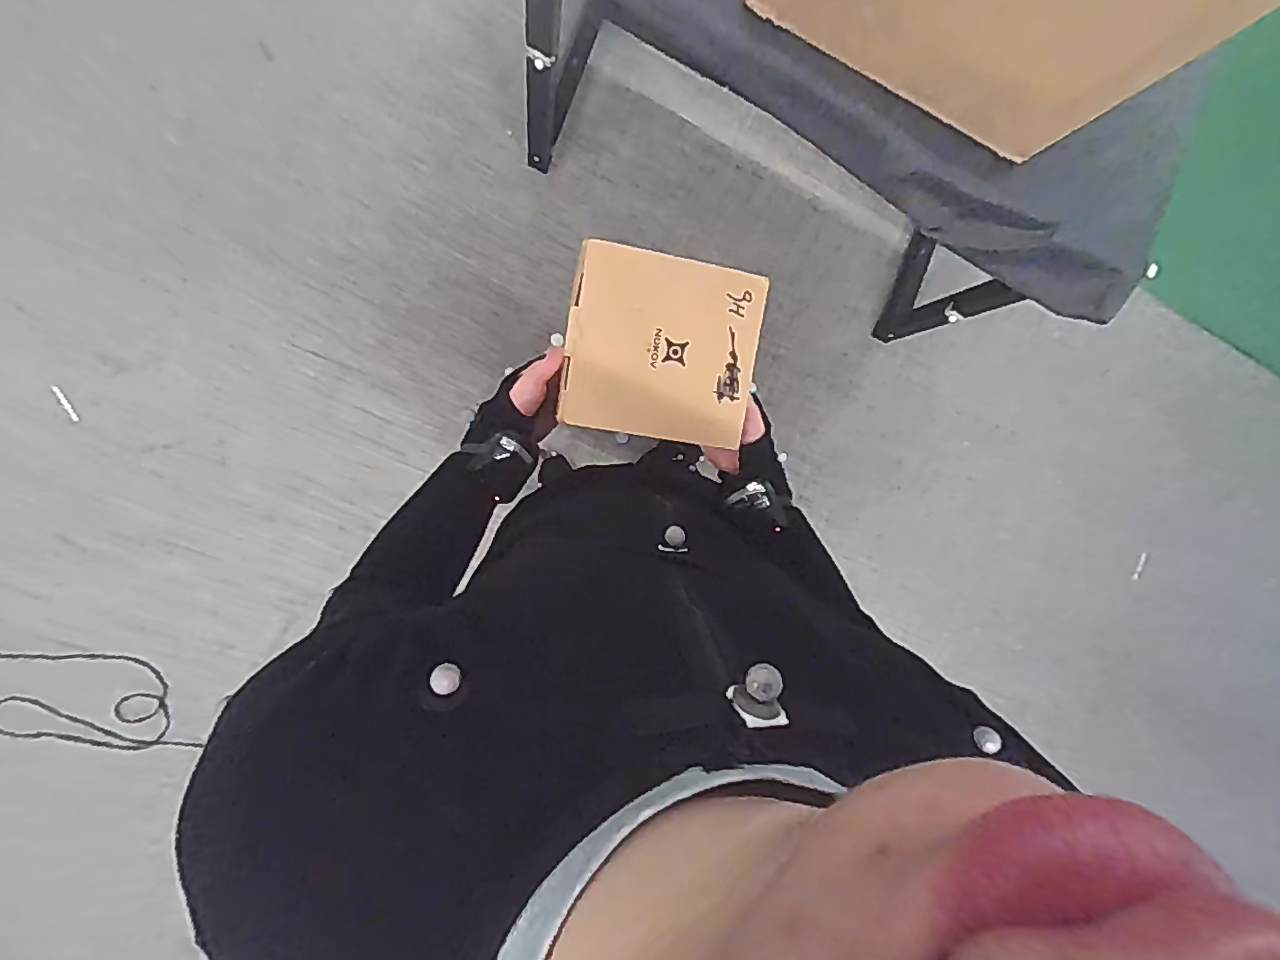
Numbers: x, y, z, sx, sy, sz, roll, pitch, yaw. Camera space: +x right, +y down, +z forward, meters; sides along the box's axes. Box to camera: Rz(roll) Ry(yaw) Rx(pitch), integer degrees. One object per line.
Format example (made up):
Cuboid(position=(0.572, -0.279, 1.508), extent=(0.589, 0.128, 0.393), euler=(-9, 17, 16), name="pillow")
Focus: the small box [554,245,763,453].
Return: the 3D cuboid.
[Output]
Cuboid(position=(0.005, -0.128, 0.581), extent=(0.179, 0.176, 0.168), euler=(9, 97, -12), name="small box")
